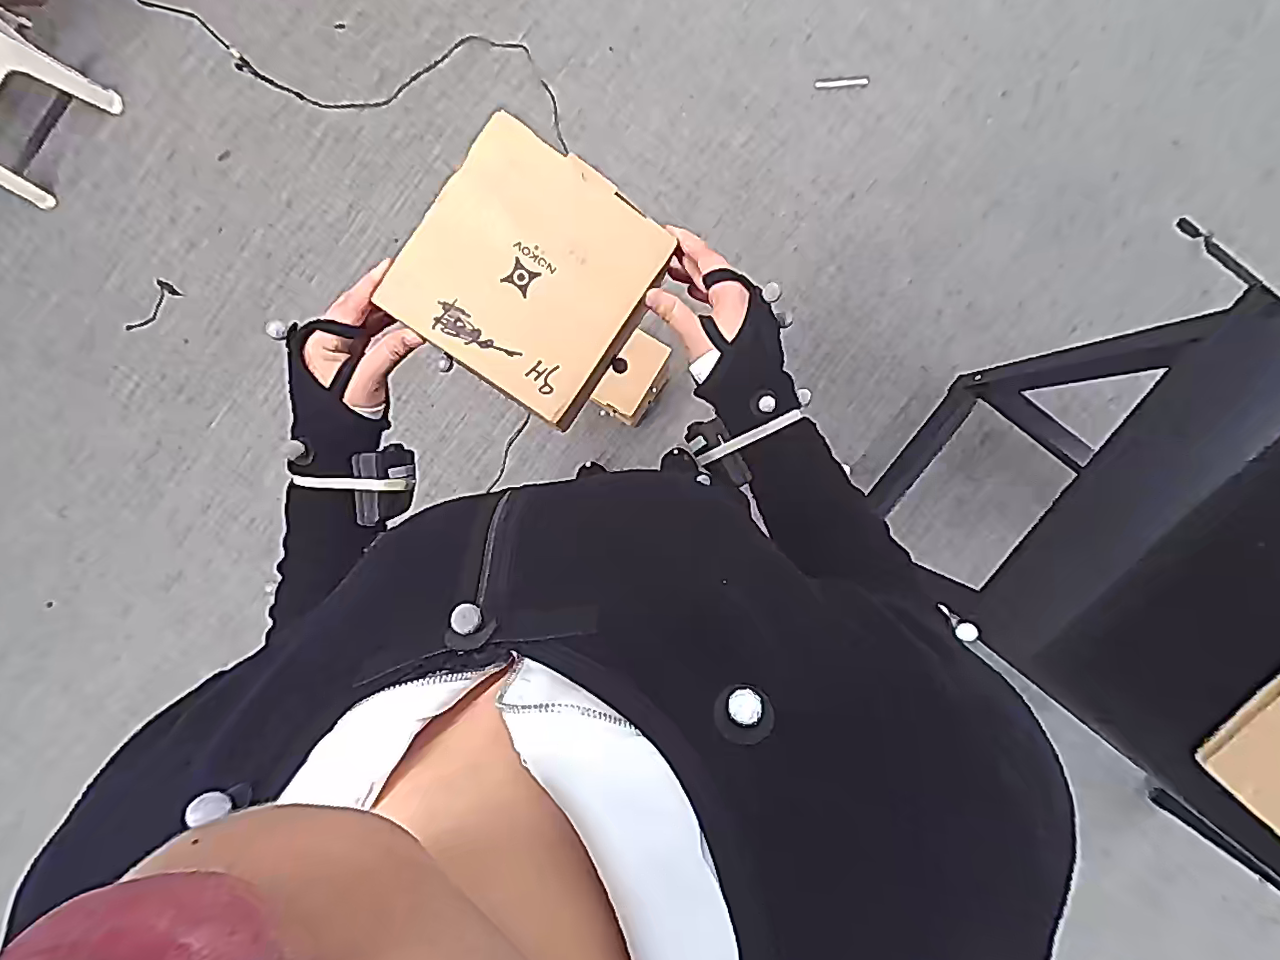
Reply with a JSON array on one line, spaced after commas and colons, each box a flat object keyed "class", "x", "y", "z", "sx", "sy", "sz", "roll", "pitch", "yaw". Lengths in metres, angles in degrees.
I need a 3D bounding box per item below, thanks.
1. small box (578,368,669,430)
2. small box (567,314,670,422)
[{"class": "small box", "x": -0.040, "y": -0.247, "z": 1.410, "sx": 0.168, "sy": 0.176, "sz": 0.179, "roll": 34, "pitch": 94, "yaw": 1}, {"class": "small box", "x": -0.044, "y": -0.247, "z": 1.248, "sx": 0.168, "sy": 0.176, "sz": 0.179, "roll": 31, "pitch": 91, "yaw": 0}]
